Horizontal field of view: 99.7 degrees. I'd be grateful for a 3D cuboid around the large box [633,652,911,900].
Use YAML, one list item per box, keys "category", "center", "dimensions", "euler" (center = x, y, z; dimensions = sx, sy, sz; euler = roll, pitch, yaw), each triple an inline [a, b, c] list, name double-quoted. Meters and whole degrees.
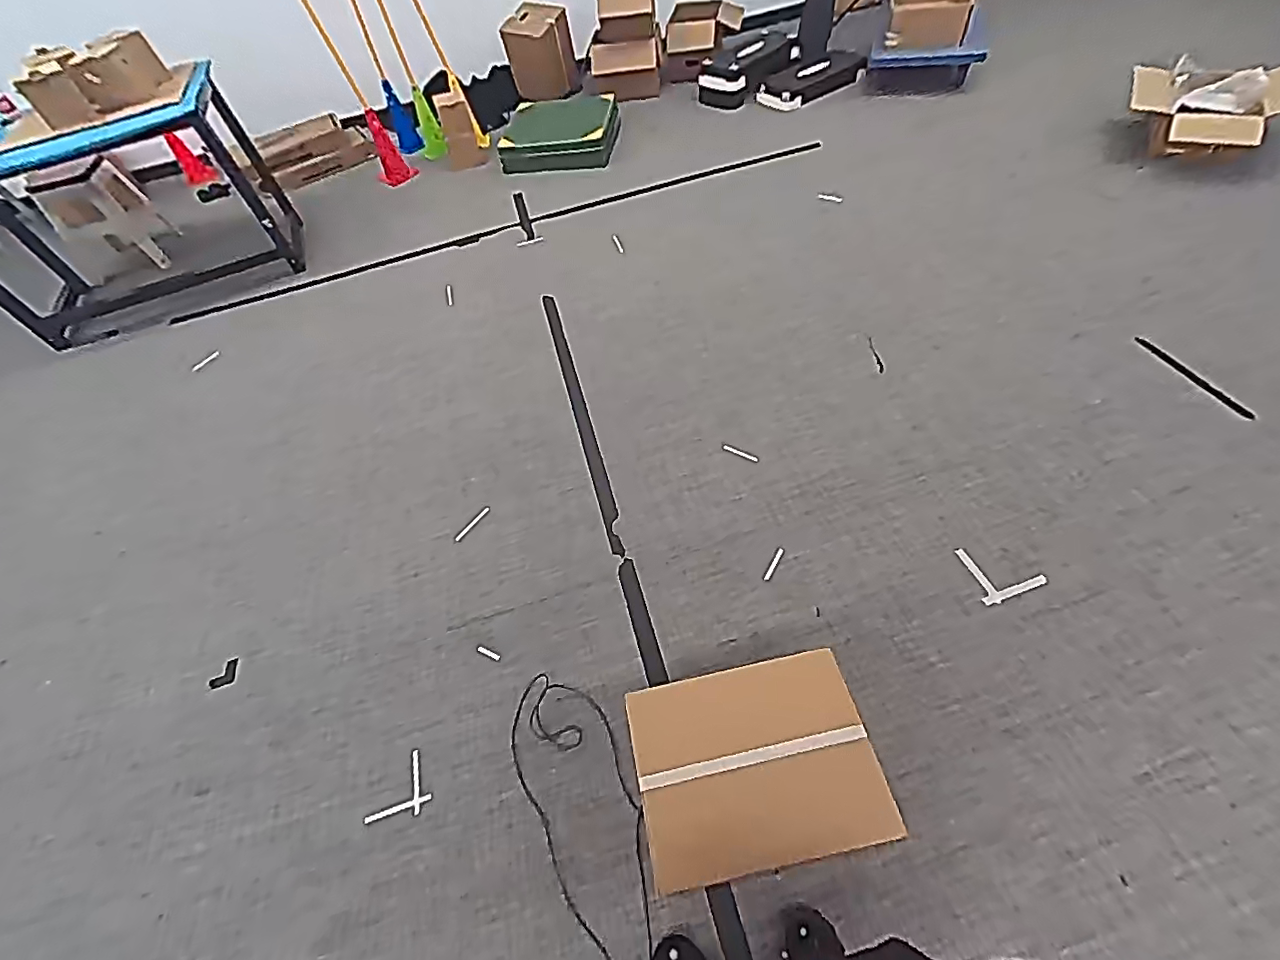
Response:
- category: "large box"
  center: [0.223, 0.579, 1.049]
  dimensions: [0.408, 0.320, 0.320]
  euler: [-12, 53, -1]
